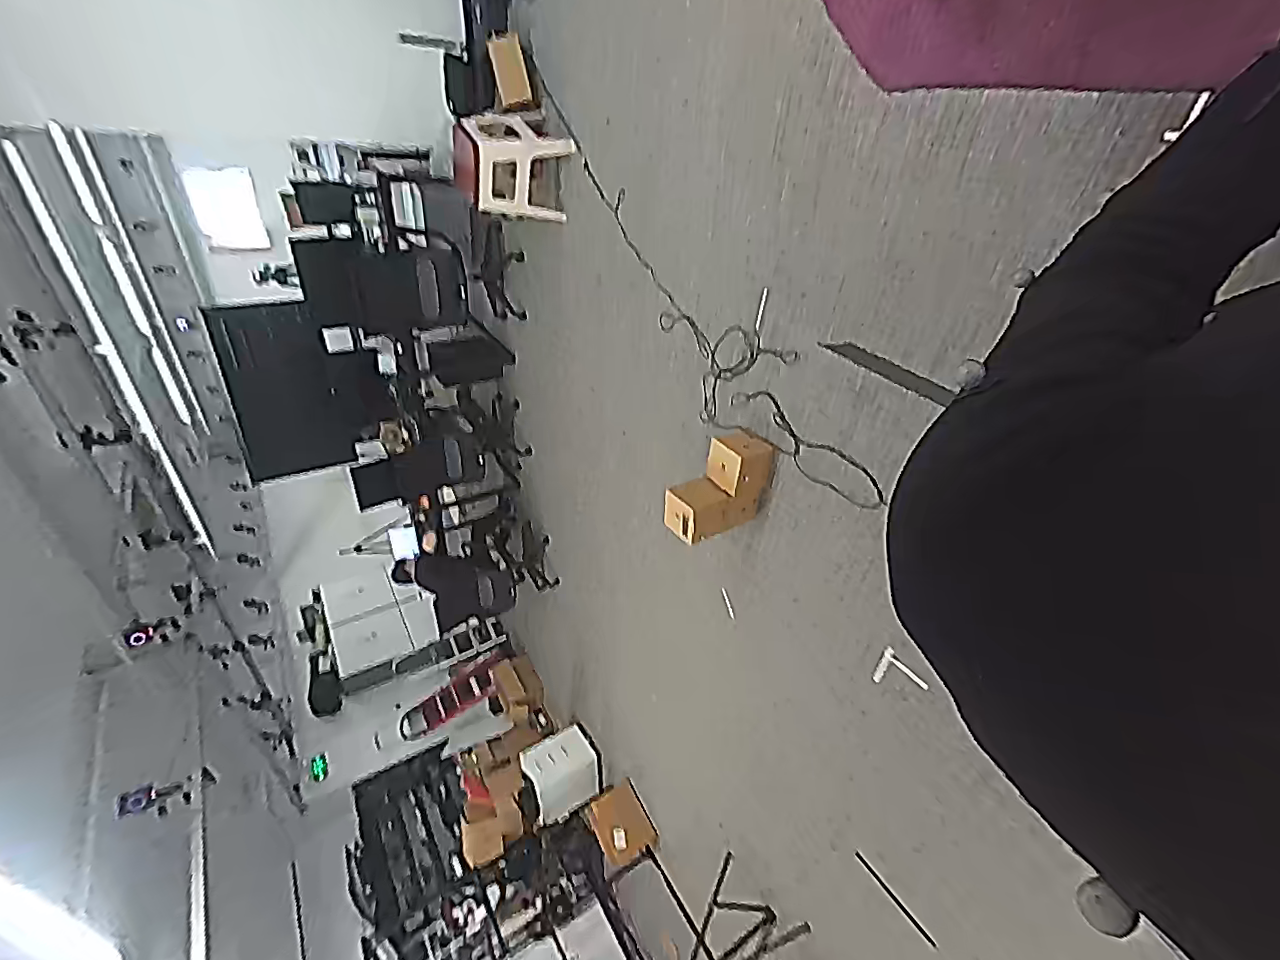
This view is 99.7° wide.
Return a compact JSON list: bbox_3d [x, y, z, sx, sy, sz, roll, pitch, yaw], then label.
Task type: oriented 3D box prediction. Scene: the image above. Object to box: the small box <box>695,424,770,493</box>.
[{"bbox_3d":[0.336,-0.075,1.984,0.179,0.176,0.168,53,133,13],"label":"small box"}]
